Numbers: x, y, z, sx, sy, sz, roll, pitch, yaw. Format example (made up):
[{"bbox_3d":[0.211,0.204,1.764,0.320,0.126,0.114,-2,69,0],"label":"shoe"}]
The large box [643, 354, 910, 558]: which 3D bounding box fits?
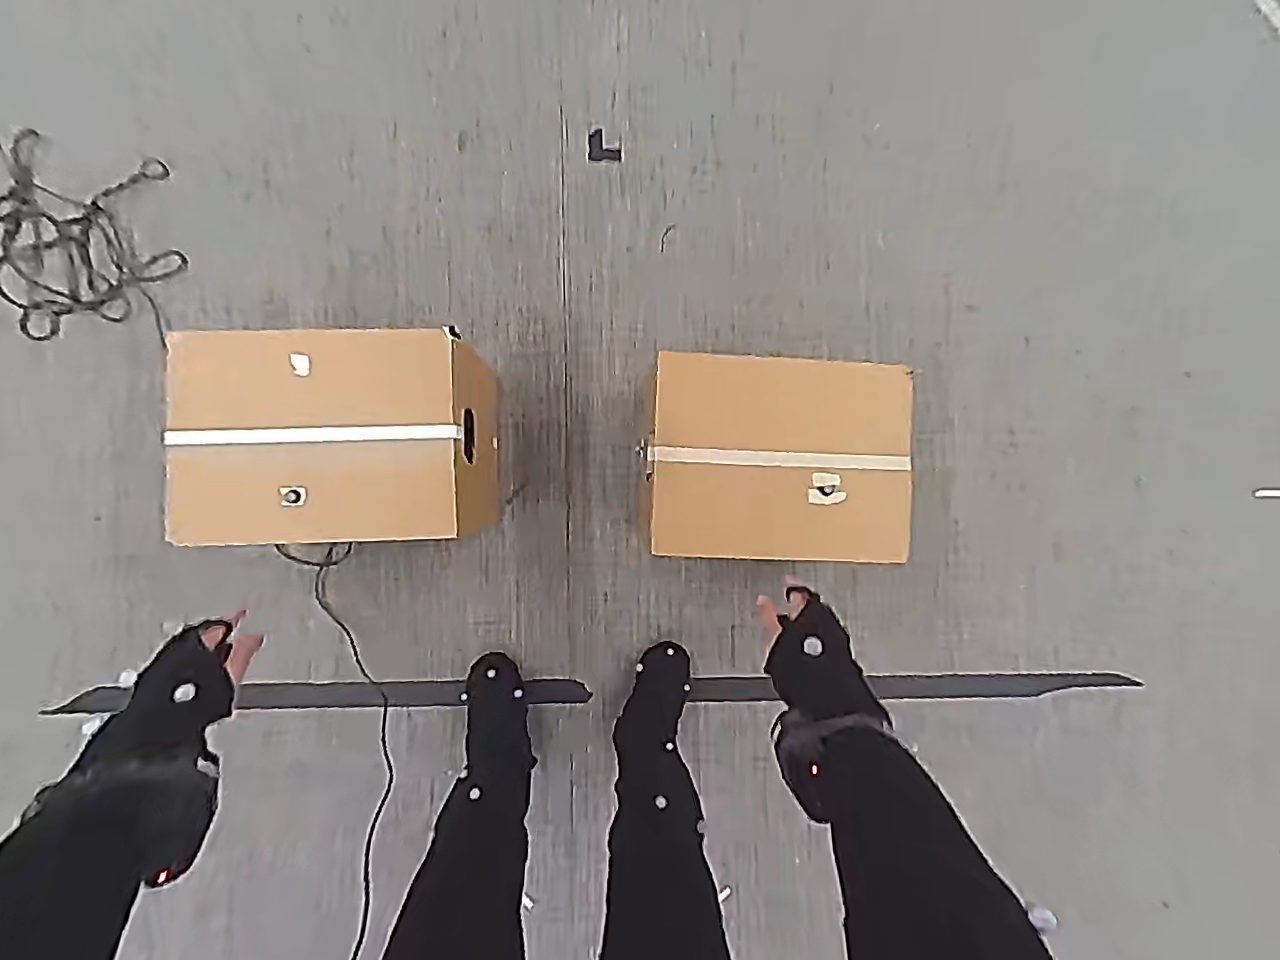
[{"bbox_3d":[0.215,-0.031,0.990,0.408,0.320,0.320,2,89,-4],"label":"large box"}]
